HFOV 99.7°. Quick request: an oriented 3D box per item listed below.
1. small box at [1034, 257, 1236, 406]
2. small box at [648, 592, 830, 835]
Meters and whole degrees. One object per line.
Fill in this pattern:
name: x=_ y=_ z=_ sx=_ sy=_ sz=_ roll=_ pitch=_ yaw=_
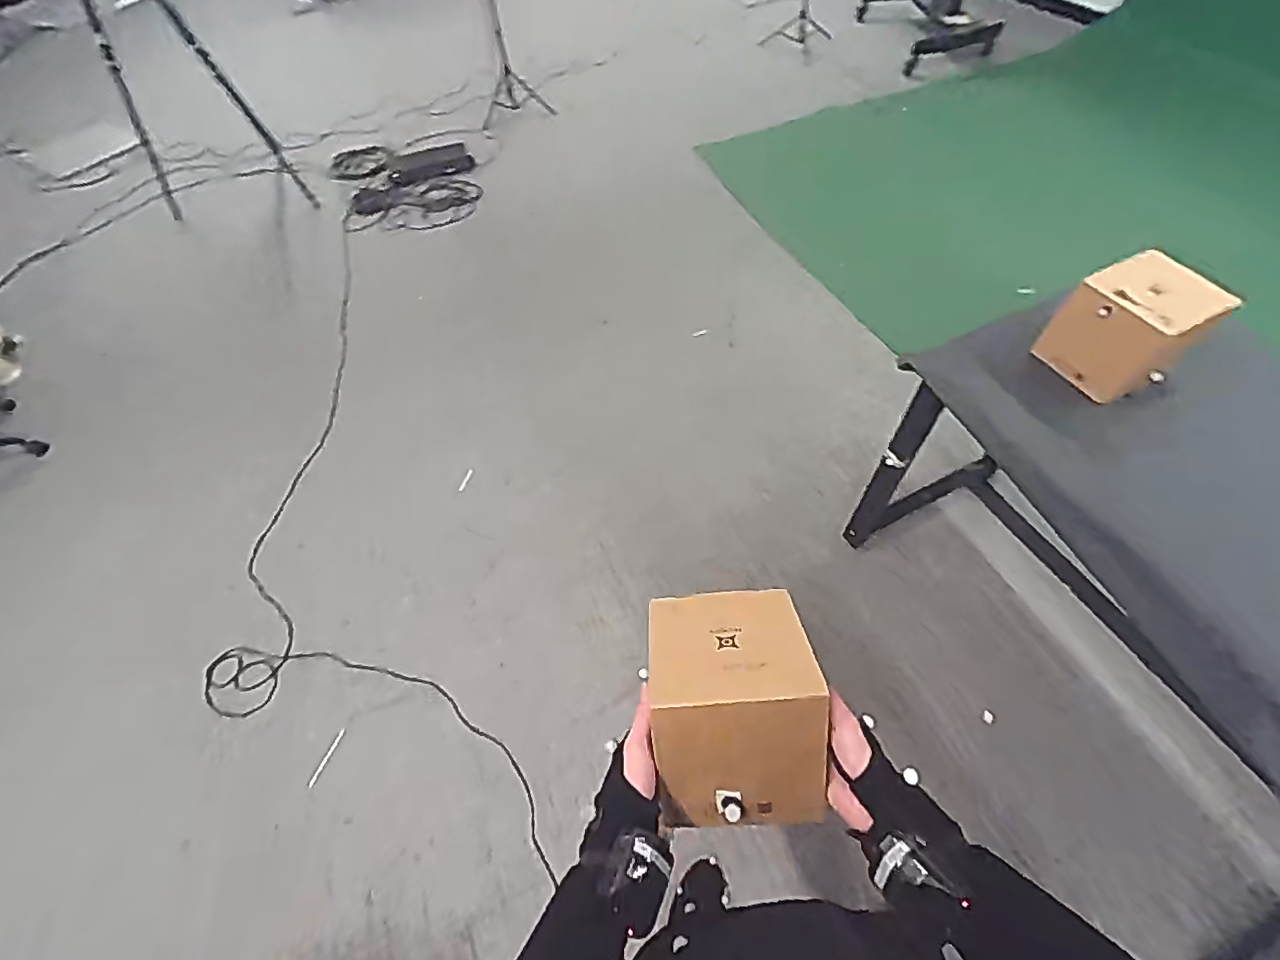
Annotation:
small box: x=0.878 y=-0.266 z=0.981 sx=0.179 sy=0.176 sz=0.168 roll=-23 pitch=58 yaw=-12
small box: x=0.098 y=0.246 z=0.592 sx=0.168 sy=0.176 sz=0.179 roll=-6 pitch=21 yaw=3
